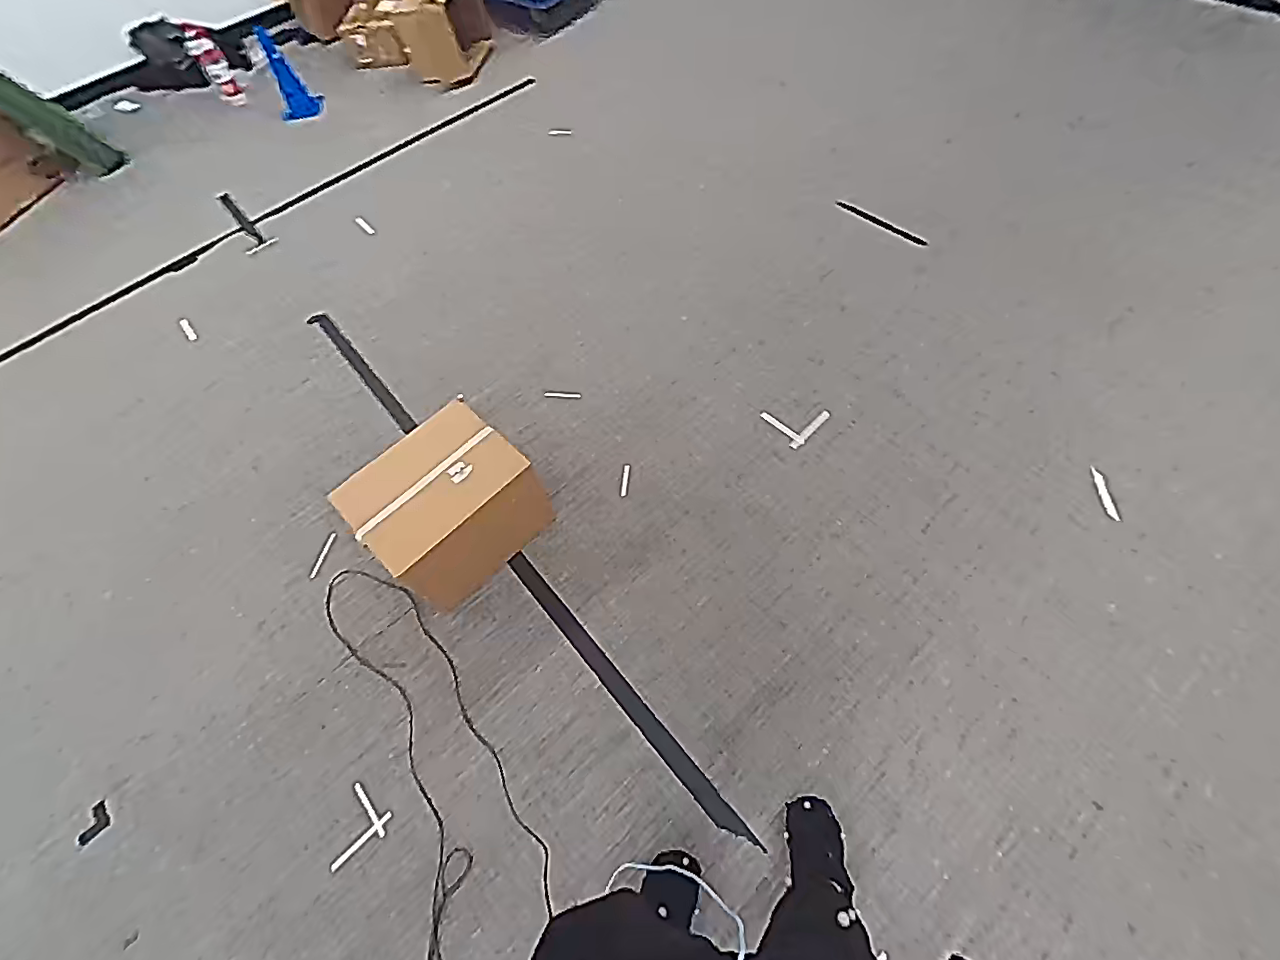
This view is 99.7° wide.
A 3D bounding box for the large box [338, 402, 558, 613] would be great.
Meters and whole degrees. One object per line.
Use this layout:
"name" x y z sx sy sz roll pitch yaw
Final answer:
"large box" -0.491 0.080 1.457 0.320 0.320 0.408 40 70 23
